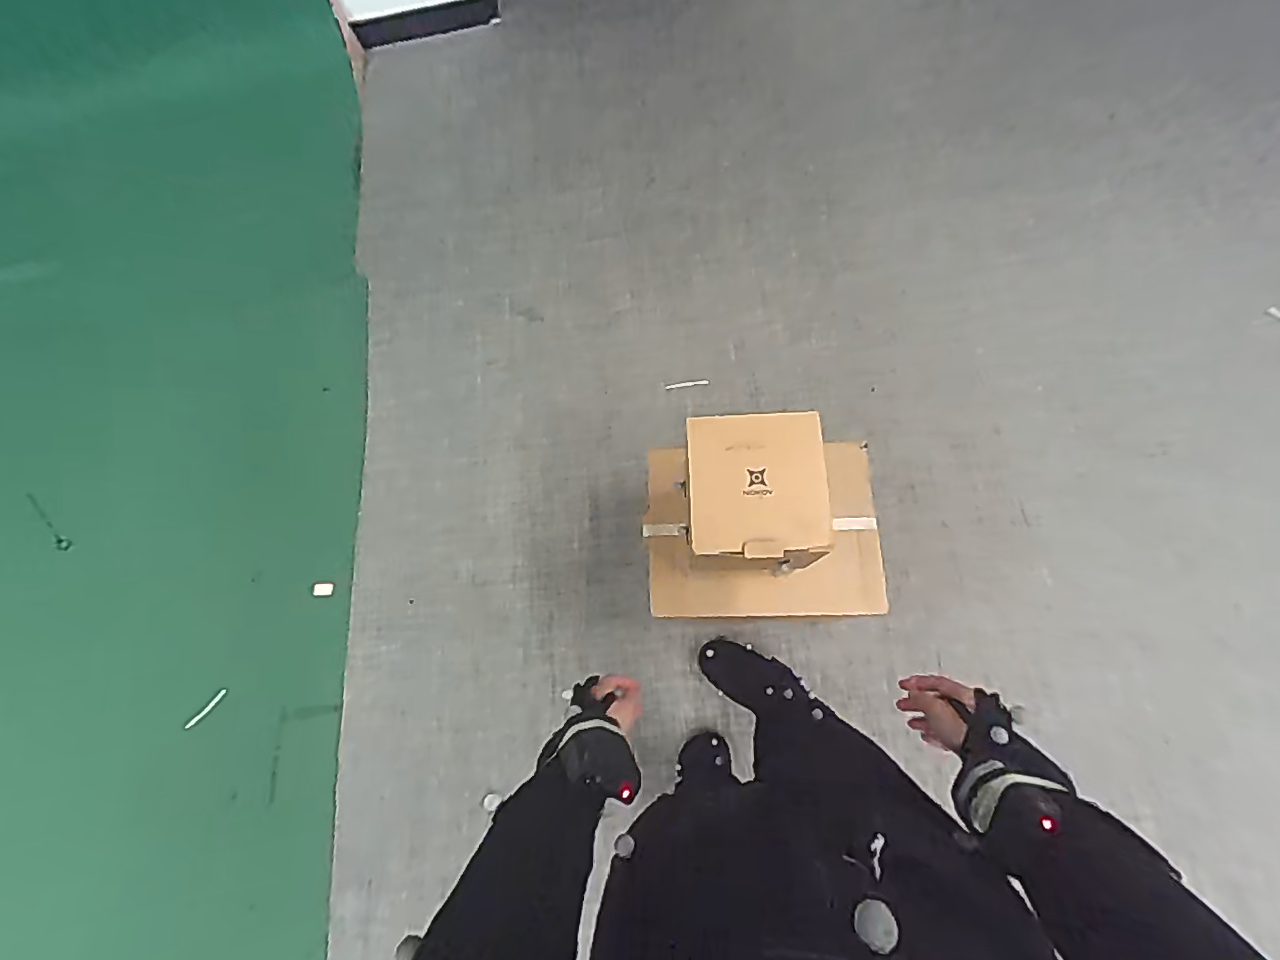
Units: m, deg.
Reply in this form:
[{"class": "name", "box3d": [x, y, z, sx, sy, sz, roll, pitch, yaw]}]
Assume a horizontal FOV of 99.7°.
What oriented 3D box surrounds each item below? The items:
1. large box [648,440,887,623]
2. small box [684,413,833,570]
[{"class": "large box", "box3d": [0.230, 0.125, 1.110, 0.408, 0.320, 0.320, -2, 75, 4]}, {"class": "small box", "box3d": [0.146, 0.026, 0.721, 0.168, 0.176, 0.179, -3, 73, 3]}]
